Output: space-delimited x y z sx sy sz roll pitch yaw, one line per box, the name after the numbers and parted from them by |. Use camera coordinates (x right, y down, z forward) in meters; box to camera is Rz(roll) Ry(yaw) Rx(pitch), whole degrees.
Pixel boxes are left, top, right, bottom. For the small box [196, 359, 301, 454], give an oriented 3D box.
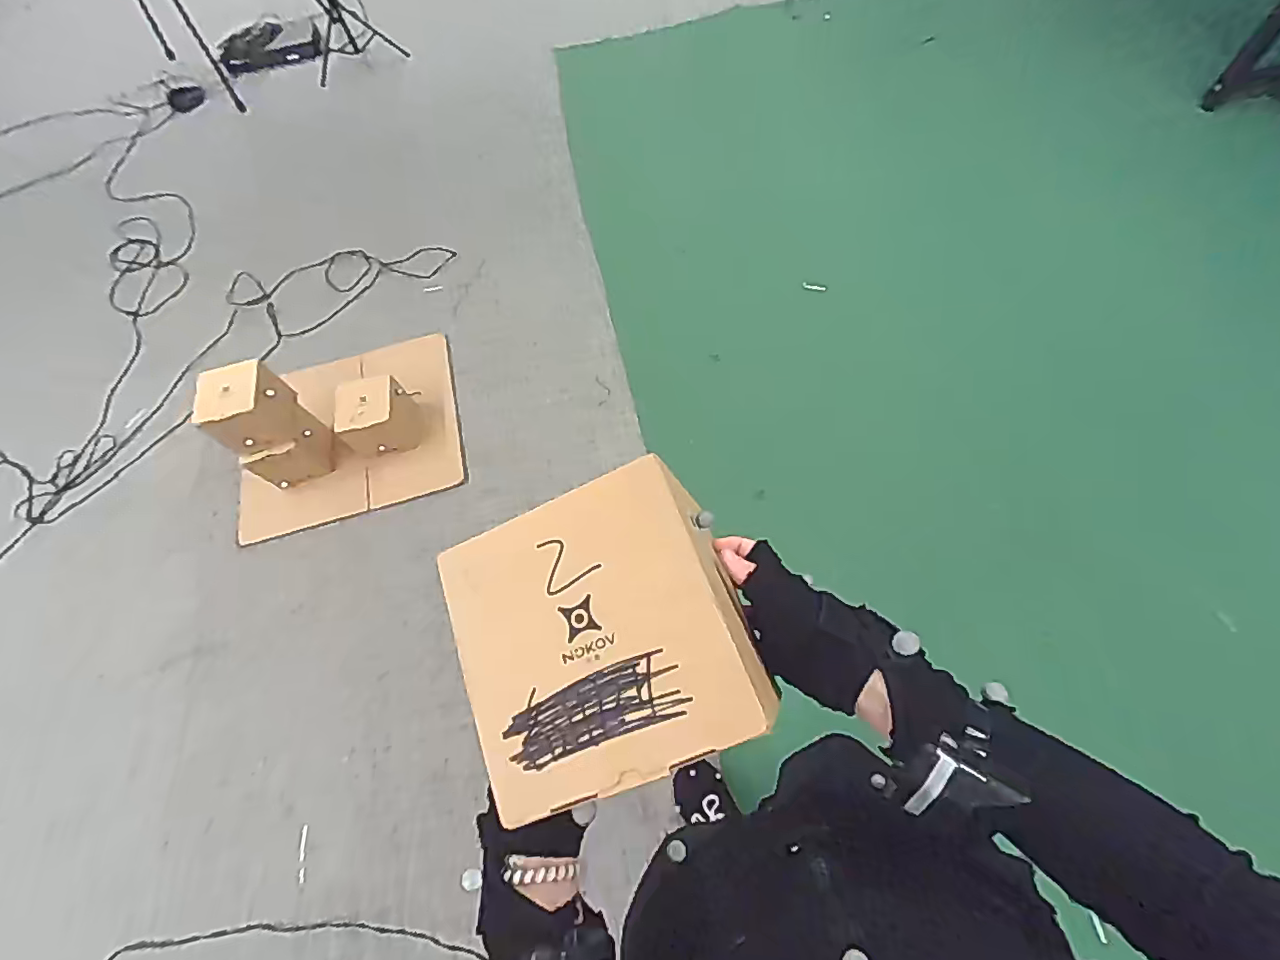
-1.074 -0.200 1.499 0.168 0.176 0.179 -15 64 -2 | small box

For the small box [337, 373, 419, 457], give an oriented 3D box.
-0.791 -0.194 1.650 0.168 0.176 0.179 -12 65 1 | small box

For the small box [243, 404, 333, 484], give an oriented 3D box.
-1.055 -0.105 1.633 0.168 0.176 0.179 -18 64 -2 | small box
